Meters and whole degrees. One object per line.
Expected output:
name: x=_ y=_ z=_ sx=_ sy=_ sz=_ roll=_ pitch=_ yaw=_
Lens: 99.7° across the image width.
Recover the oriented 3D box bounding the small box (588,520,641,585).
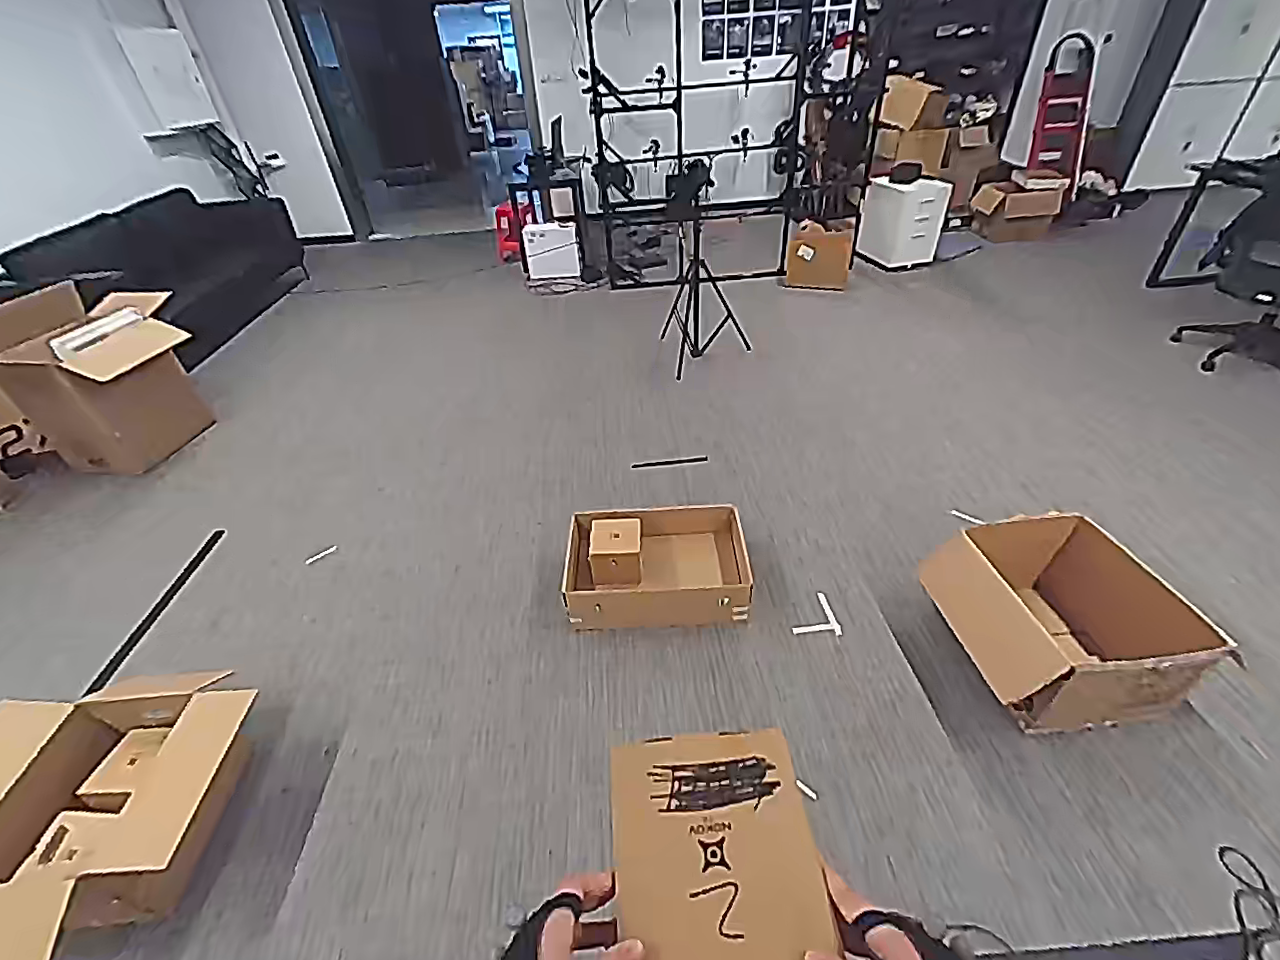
small box: x=-0.088 y=0.263 z=1.947 sx=0.179 sy=0.176 sz=0.168 roll=-2 pitch=41 yaw=1
